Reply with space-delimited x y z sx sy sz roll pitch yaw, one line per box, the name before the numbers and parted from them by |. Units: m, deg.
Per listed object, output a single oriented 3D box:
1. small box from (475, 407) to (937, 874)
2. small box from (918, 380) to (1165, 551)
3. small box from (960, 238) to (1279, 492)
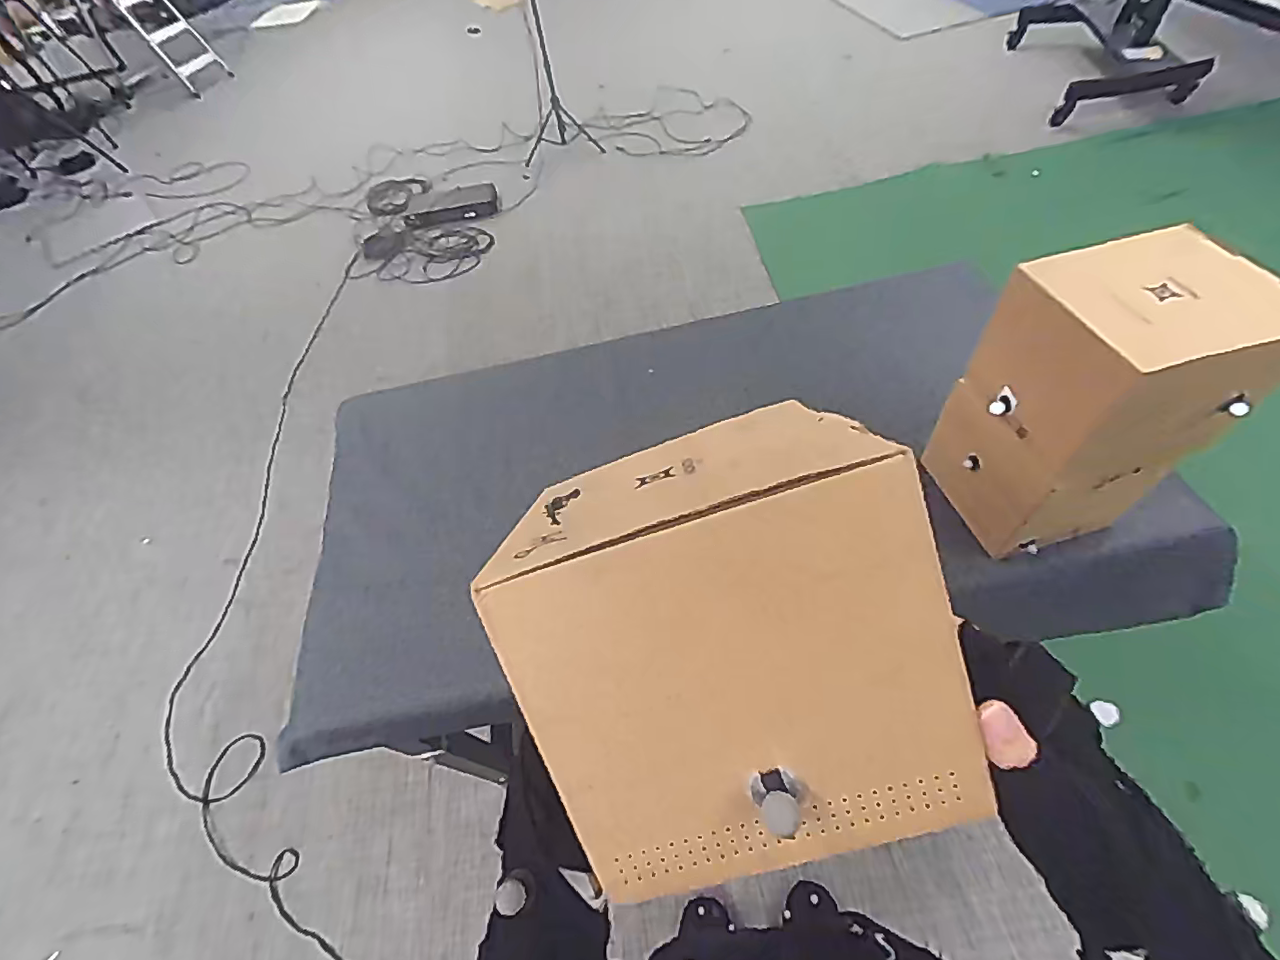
small box | 0.041 0.072 0.305 0.179 0.176 0.168 -17 12 5
small box | 0.495 -0.026 0.693 0.168 0.176 0.179 -15 53 -3
small box | 0.476 -0.112 0.558 0.179 0.176 0.168 -15 52 0
